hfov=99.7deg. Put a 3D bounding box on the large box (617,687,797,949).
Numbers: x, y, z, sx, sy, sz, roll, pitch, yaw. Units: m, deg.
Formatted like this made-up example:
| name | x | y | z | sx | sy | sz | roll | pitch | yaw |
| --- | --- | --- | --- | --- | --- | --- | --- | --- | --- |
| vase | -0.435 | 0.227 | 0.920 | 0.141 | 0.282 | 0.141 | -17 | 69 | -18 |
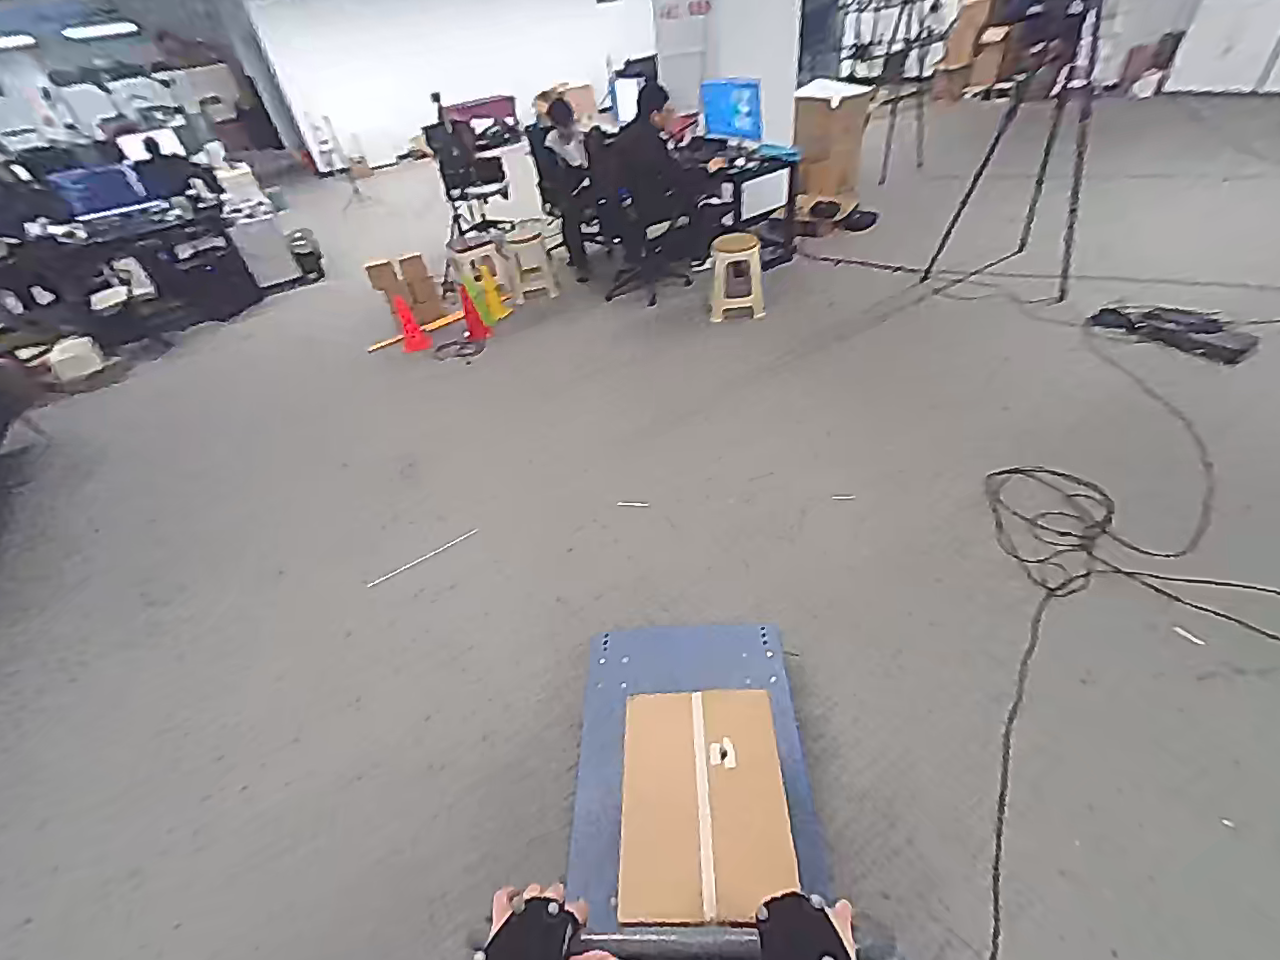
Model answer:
| name | x | y | z | sx | sy | sz | roll | pitch | yaw |
| --- | --- | --- | --- | --- | --- | --- | --- | --- | --- |
| large box | 0.135 | 0.716 | 1.161 | 0.320 | 0.320 | 0.408 | -4 | 40 | 6 |
